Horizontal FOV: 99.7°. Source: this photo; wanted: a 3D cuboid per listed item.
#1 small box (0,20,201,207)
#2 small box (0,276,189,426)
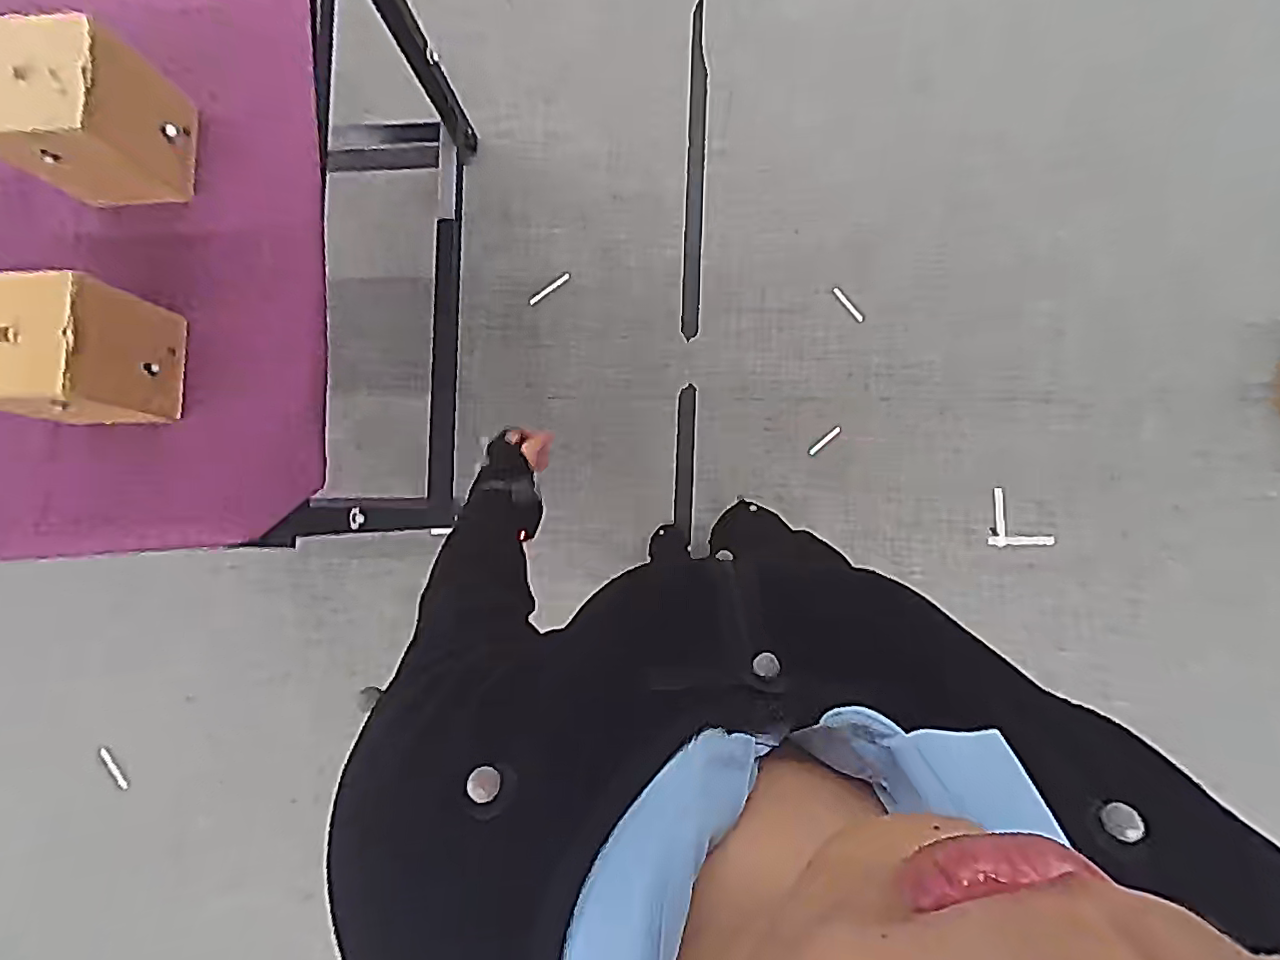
[{"bbox_3d":[-0.808,-0.526,0.800,0.179,0.176,0.168,0,86,3],"label":"small box"},{"bbox_3d":[-0.805,-0.174,0.773,0.179,0.176,0.168,-1,85,2],"label":"small box"}]
